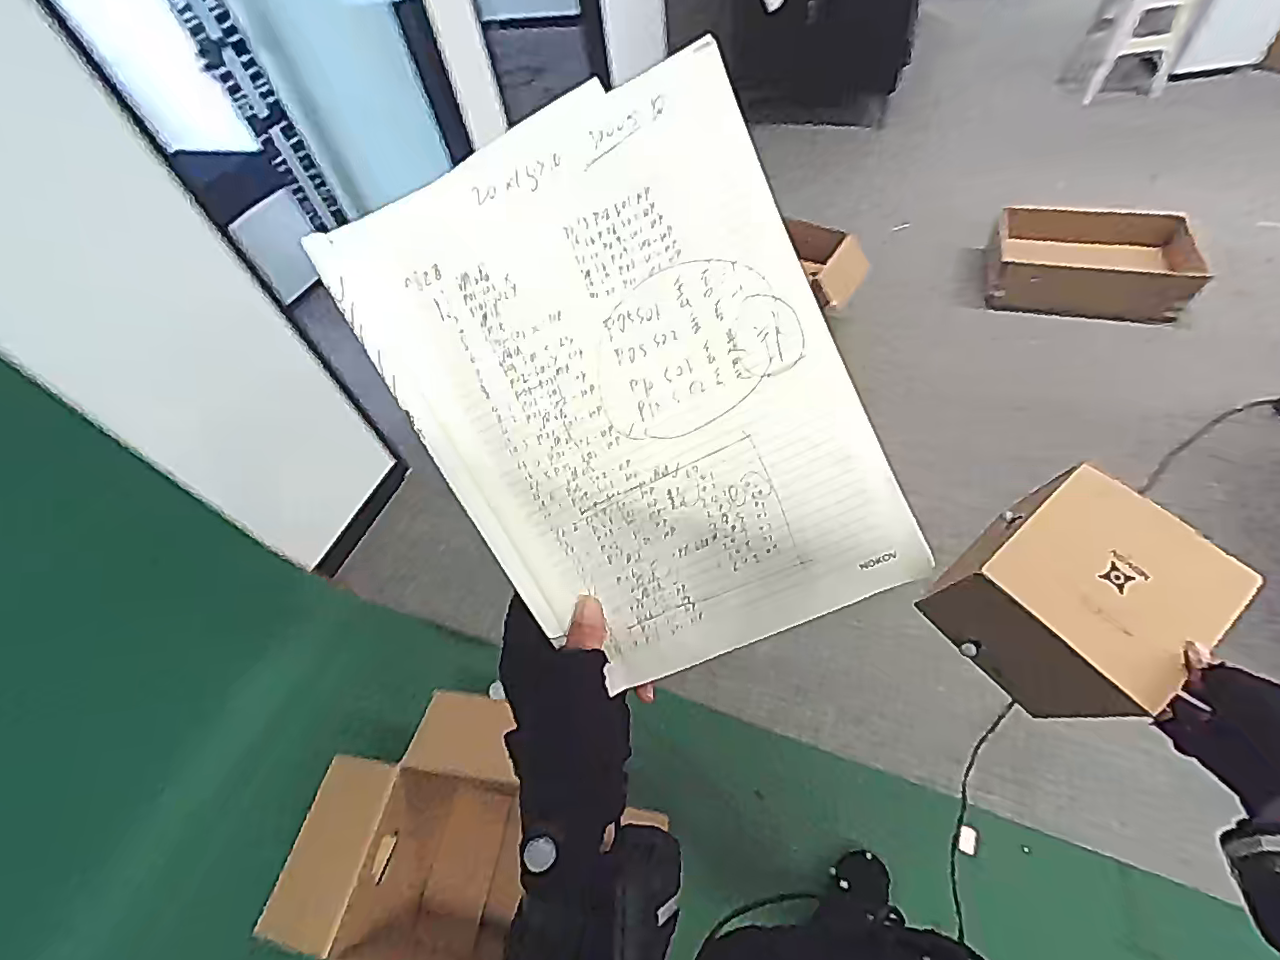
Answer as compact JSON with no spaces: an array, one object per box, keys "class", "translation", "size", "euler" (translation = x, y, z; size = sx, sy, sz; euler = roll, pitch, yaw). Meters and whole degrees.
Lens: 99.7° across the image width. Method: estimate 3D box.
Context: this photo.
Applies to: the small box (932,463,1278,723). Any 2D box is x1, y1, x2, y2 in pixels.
[{"class":"small box","translation":[0.443,0.120,0.552],"size":[0.179,0.176,0.168],"euler":[-38,68,-12]}]
